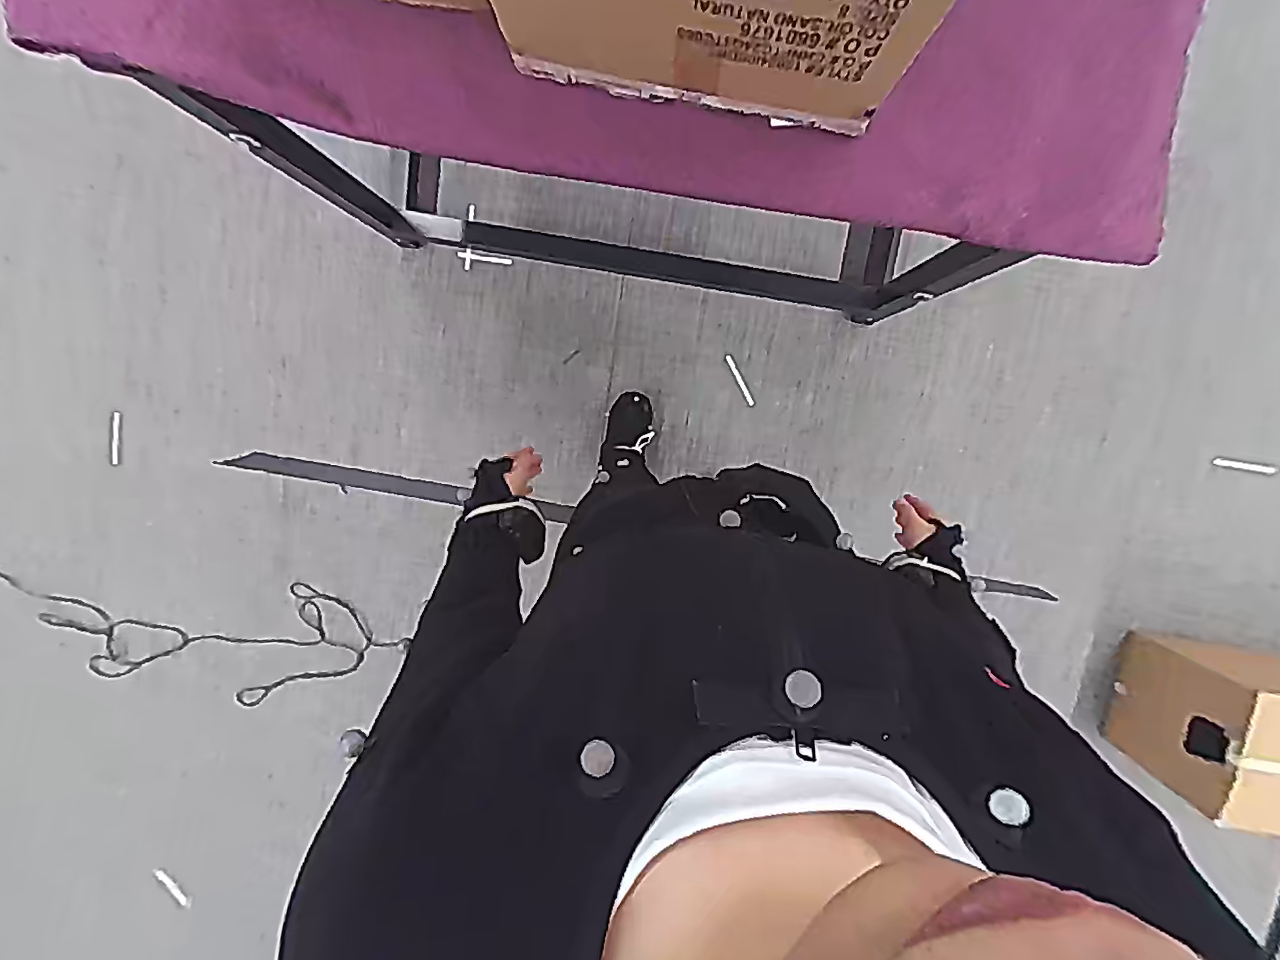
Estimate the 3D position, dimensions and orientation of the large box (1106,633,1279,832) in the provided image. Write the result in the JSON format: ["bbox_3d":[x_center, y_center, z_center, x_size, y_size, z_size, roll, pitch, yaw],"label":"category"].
[{"bbox_3d":[1.448,0.583,1.266,0.408,0.320,0.320,8,97,2],"label":"large box"}]
